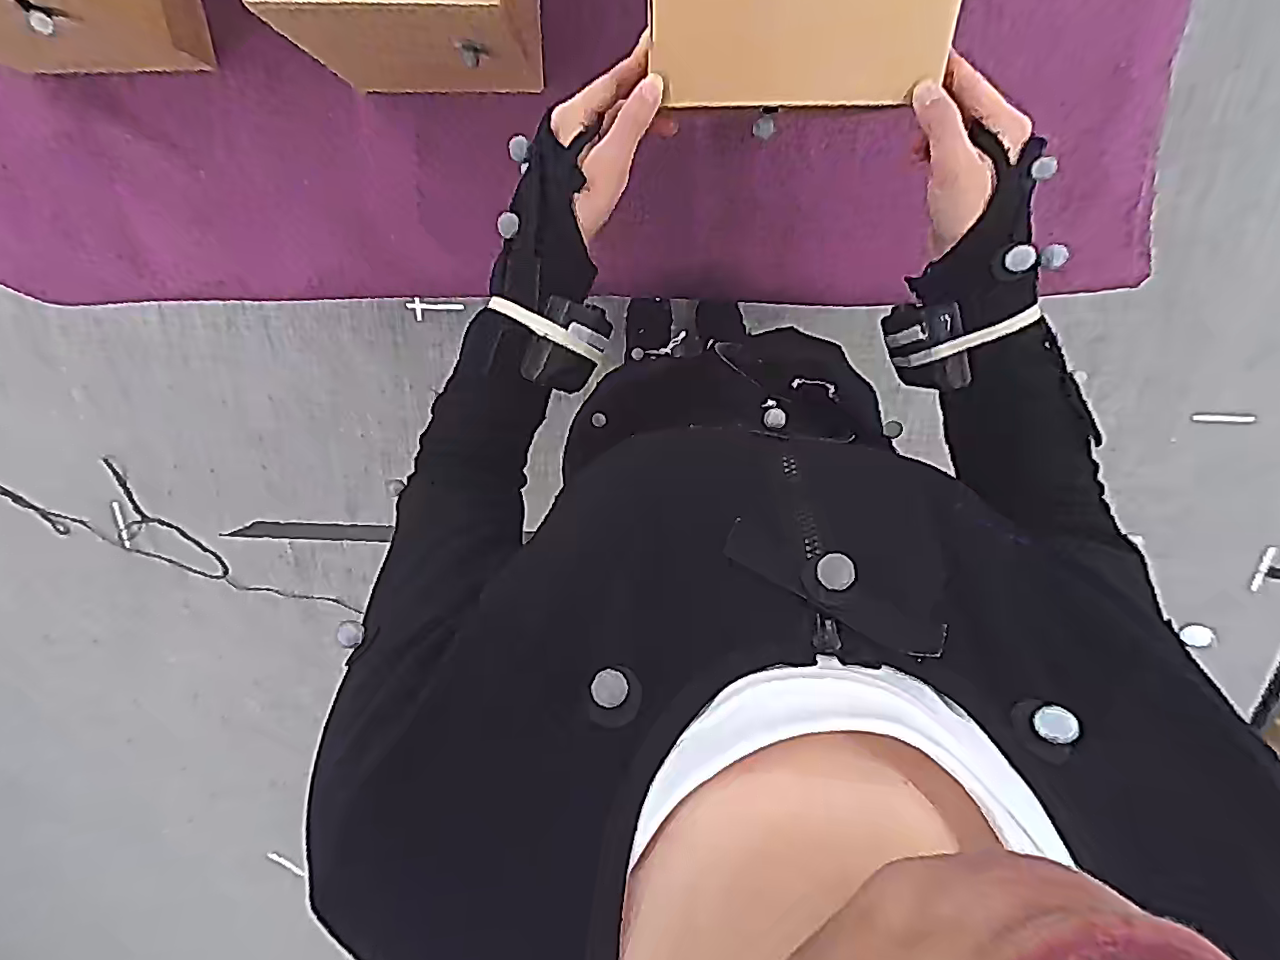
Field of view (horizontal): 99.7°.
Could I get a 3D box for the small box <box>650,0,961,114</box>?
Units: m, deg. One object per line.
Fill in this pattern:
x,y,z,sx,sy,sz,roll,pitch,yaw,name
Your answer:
0.095,-0.344,0.353,0.179,0.176,0.168,0,122,2,small box

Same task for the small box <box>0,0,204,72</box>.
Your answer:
-0.478,-0.436,0.406,0.179,0.176,0.168,-2,109,-1,small box
